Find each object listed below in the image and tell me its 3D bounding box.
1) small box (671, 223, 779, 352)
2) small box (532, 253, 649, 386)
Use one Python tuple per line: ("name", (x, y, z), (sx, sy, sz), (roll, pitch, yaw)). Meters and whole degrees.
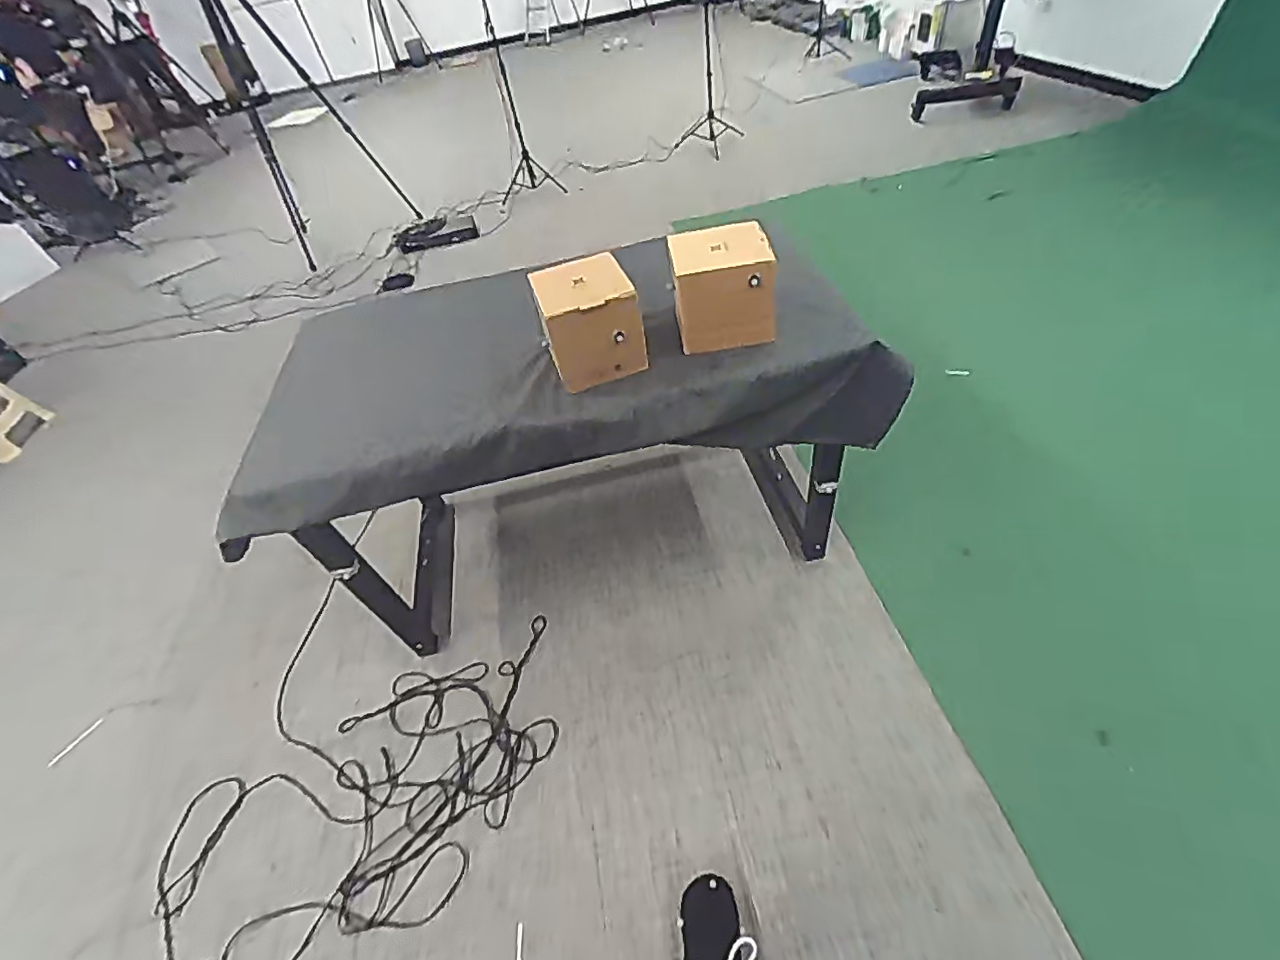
("small box", (0.161, -0.364, 1.037), (0.179, 0.176, 0.168), (-8, 47, 3))
("small box", (-0.091, -0.297, 1.024), (0.168, 0.176, 0.179), (-18, 46, -8))
